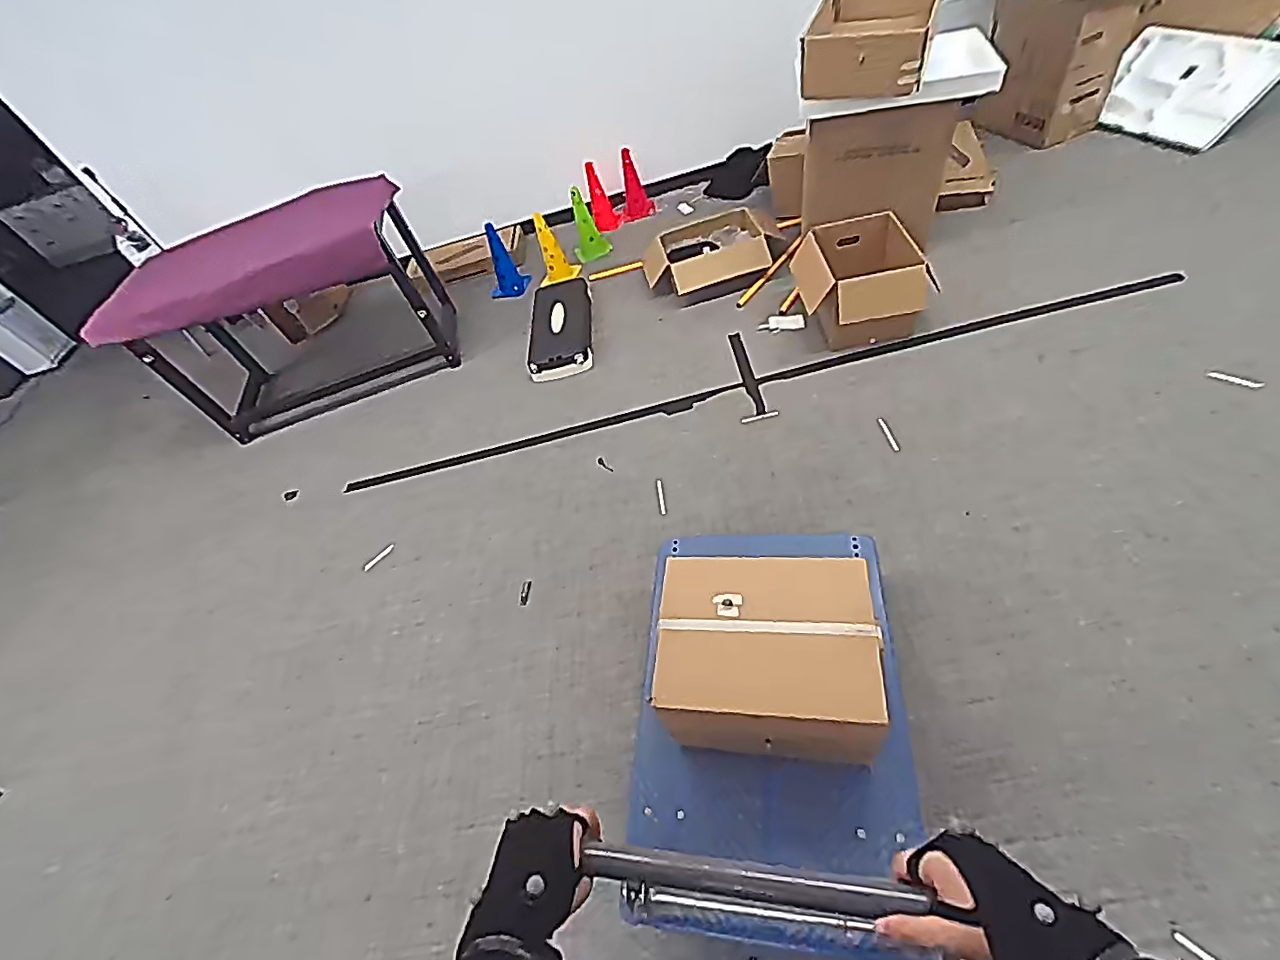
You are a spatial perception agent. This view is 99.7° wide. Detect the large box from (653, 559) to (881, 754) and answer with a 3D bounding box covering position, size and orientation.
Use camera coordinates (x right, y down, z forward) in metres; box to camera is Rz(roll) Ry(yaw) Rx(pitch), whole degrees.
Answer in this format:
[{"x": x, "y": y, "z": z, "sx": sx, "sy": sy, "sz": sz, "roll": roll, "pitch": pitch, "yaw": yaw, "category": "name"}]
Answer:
[{"x": 0.269, "y": 0.383, "z": 1.161, "sx": 0.408, "sy": 0.320, "sz": 0.320, "roll": -3, "pitch": 50, "yaw": 16, "category": "large box"}]
